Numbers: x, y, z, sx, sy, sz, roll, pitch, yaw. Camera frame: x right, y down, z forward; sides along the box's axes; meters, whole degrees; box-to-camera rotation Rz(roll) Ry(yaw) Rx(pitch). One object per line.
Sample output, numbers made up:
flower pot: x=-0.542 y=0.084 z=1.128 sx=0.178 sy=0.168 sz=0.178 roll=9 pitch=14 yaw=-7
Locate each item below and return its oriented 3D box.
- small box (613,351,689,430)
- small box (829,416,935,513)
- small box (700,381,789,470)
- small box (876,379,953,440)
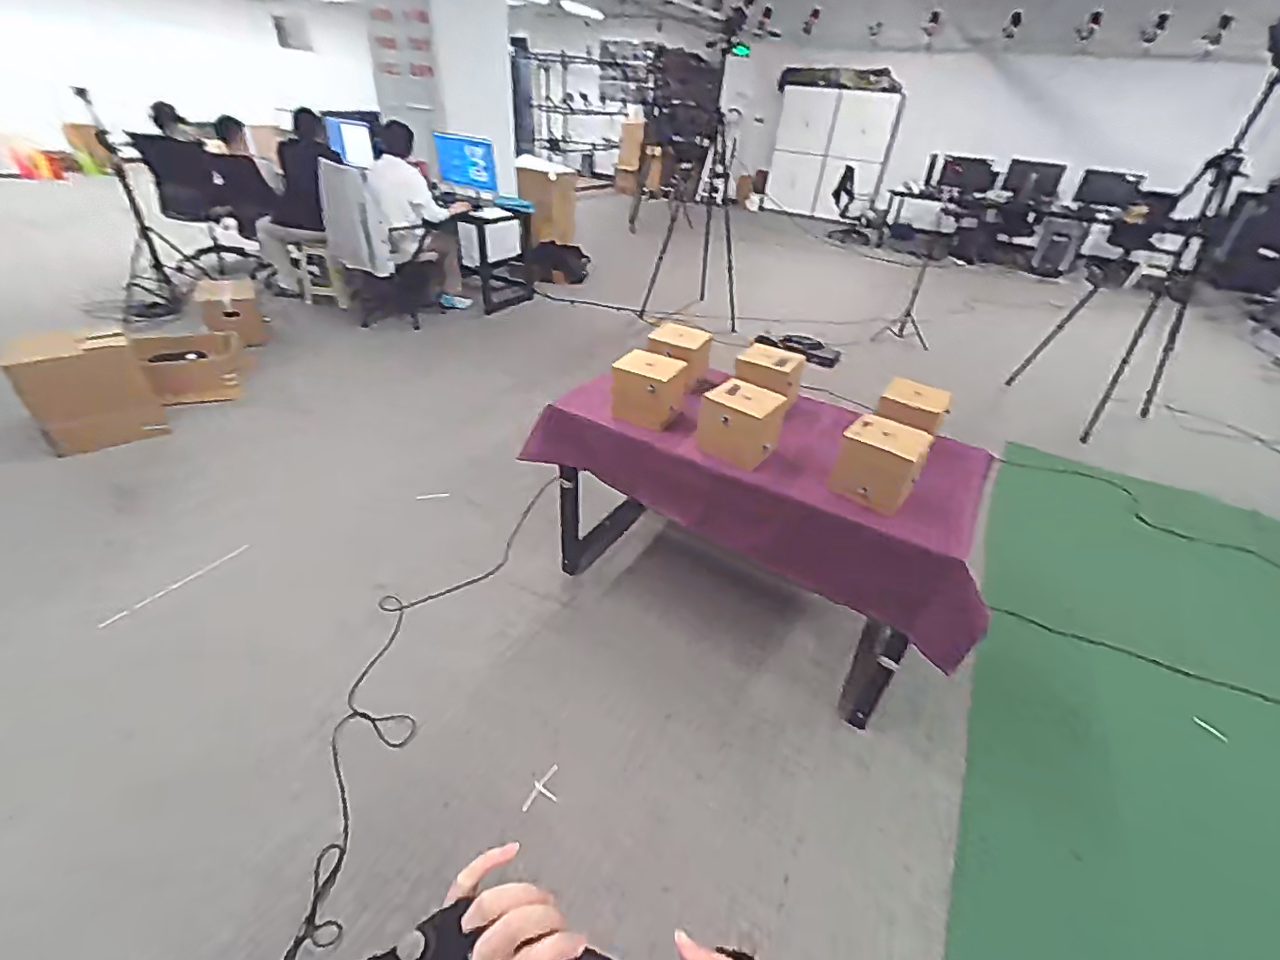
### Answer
small box: x=0.030 y=-0.271 z=1.648 sx=0.179 sy=0.176 sz=0.168 roll=20 pitch=37 yaw=18
small box: x=0.616 y=-0.036 z=1.388 sx=0.179 sy=0.176 sz=0.168 roll=28 pitch=41 yaw=29
small box: x=0.287 y=-0.153 z=1.512 sx=0.179 sy=0.176 sz=0.168 roll=28 pitch=41 yaw=28
small box: x=0.797 y=-0.174 z=1.605 sx=0.168 sy=0.176 sz=0.179 roll=25 pitch=40 yaw=27
